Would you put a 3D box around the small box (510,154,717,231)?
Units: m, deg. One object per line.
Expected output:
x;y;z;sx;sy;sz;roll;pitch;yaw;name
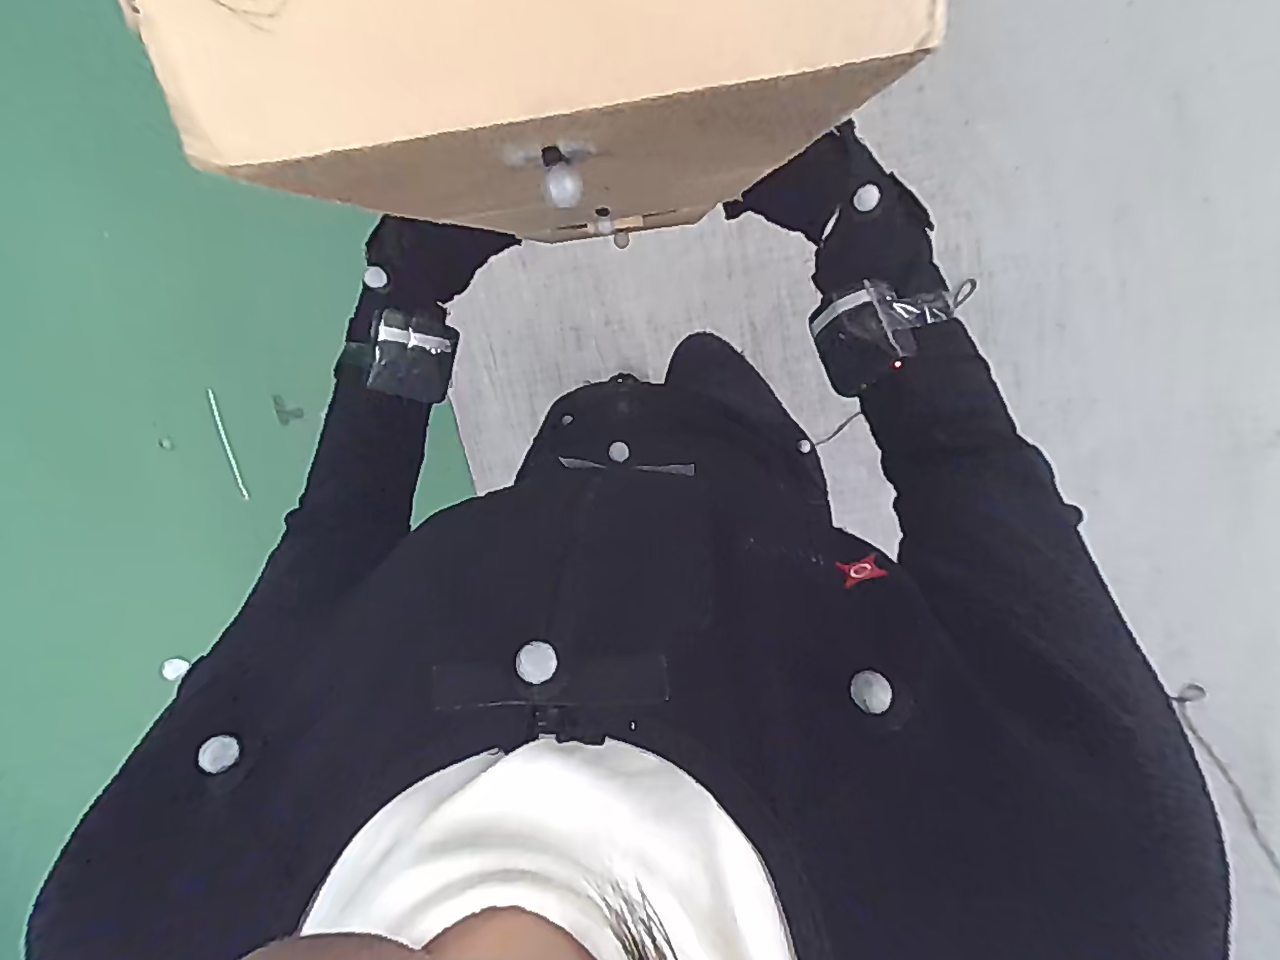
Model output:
-0.025;-0.321;0.468;0.168;0.176;0.179;-6;112;5;small box
